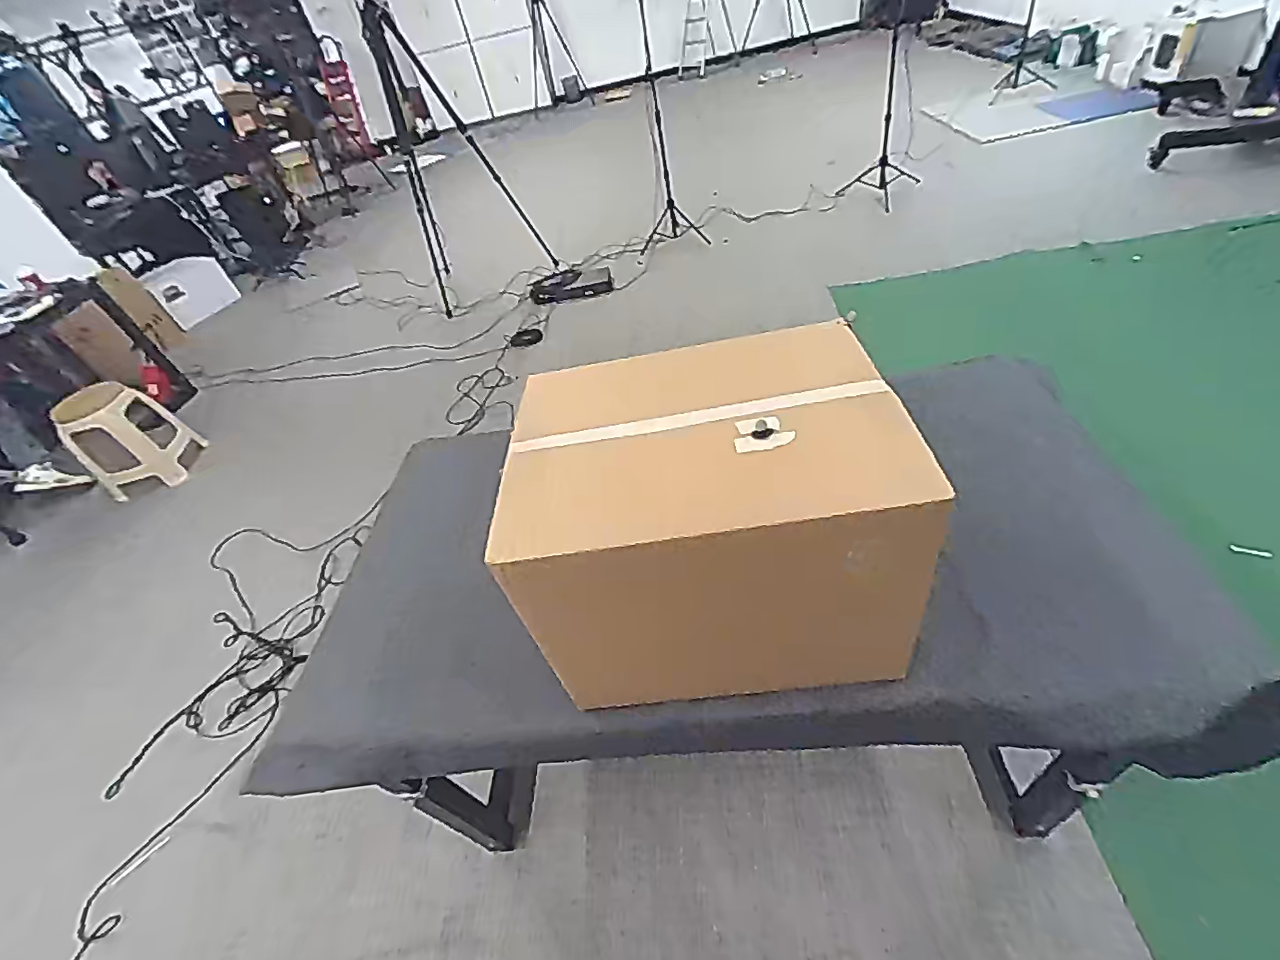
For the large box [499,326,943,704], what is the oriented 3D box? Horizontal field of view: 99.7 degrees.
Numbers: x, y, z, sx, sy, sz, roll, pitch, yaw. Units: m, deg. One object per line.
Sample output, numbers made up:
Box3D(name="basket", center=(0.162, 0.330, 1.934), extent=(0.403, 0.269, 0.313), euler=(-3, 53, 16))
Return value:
Box3D(name="large box", center=(0.084, 0.048, 0.681), extent=(0.408, 0.320, 0.320), euler=(-9, 43, 6))
